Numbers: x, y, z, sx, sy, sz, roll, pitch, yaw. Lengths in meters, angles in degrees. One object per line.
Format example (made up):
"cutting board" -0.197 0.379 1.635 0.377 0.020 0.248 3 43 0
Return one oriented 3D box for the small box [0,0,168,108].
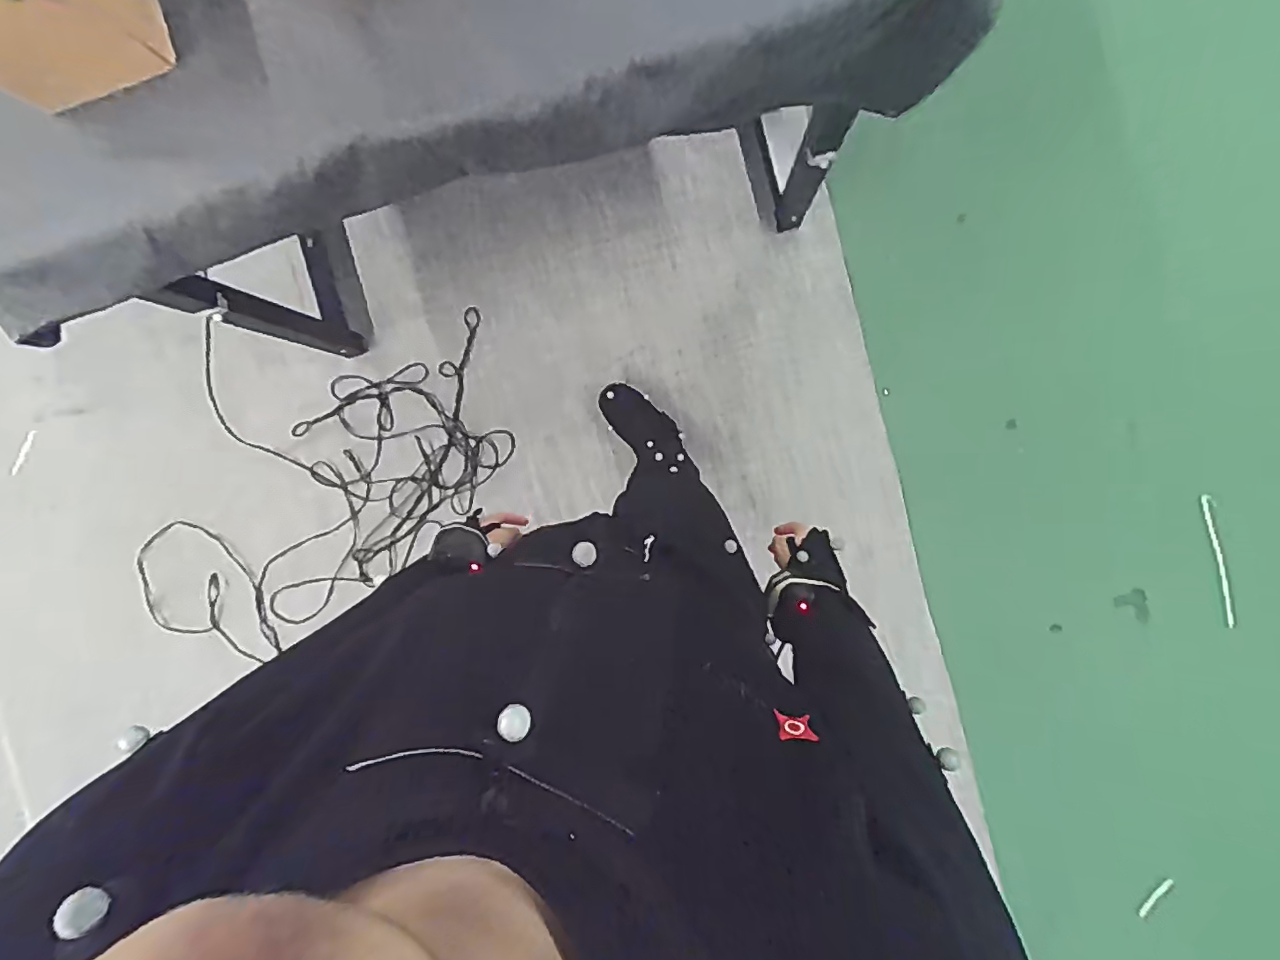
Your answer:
"small box" -0.654 -0.530 0.554 0.179 0.176 0.168 -17 91 4
